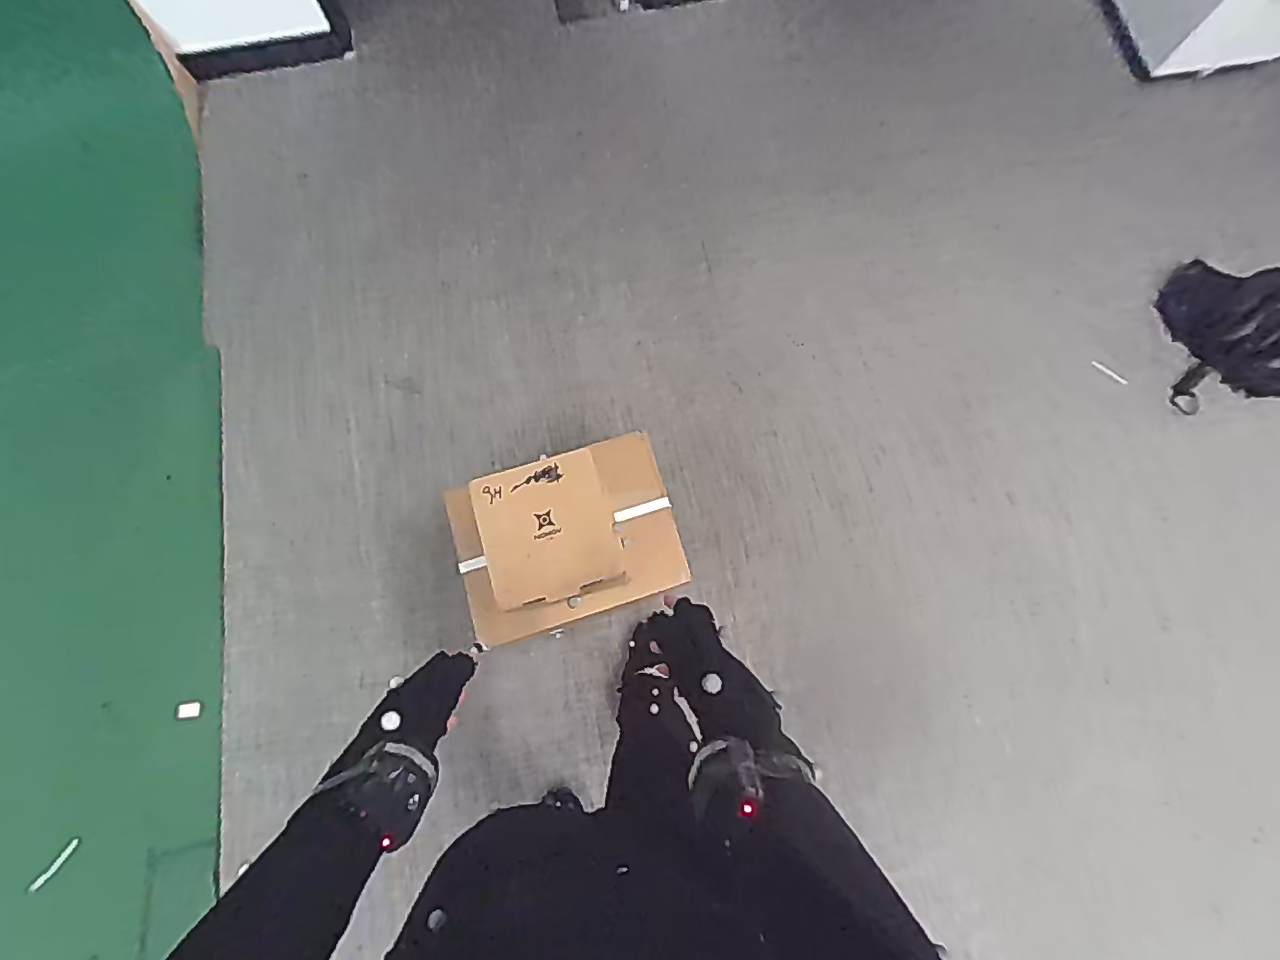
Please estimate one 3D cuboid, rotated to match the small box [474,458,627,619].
[{"bbox_3d":[-0.118,0.089,0.775,0.168,0.176,0.179,-16,77,-4],"label":"small box"}]
